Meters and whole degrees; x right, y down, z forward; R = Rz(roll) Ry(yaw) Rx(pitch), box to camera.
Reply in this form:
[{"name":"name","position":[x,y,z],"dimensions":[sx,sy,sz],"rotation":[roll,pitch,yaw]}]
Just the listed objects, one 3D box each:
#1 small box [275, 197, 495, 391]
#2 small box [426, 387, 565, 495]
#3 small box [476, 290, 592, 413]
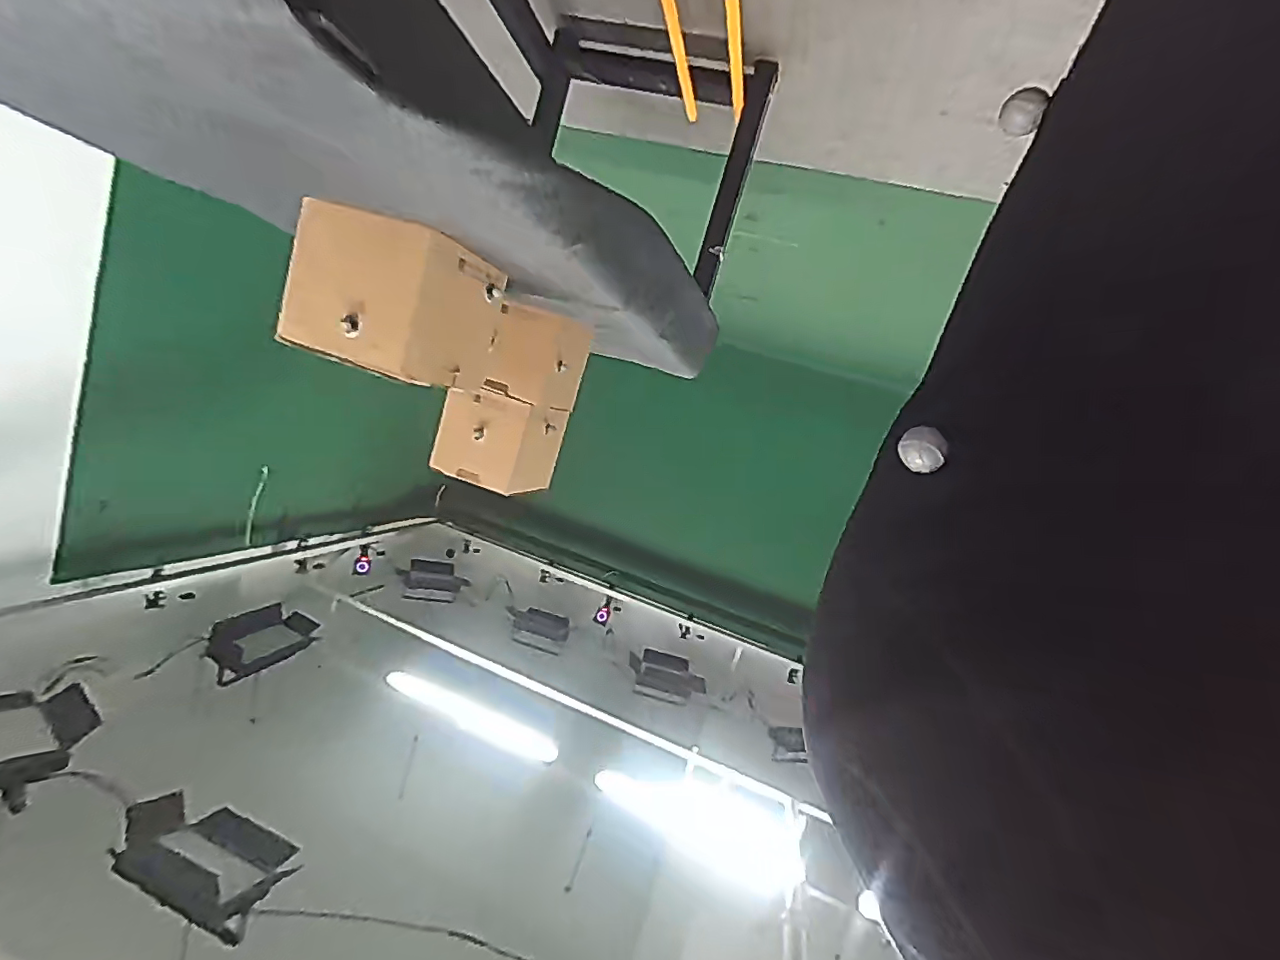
[{"name":"small box","position":[-0.299,-0.221,0.667],"dimensions":[0.179,0.176,0.168],"rotation":[19,-173,12]},{"name":"small box","position":[-0.263,-0.080,1.013],"dimensions":[0.168,0.176,0.179],"rotation":[19,-174,12]},{"name":"small box","position":[-0.207,-0.233,0.991],"dimensions":[0.168,0.176,0.179],"rotation":[20,-172,11]}]
